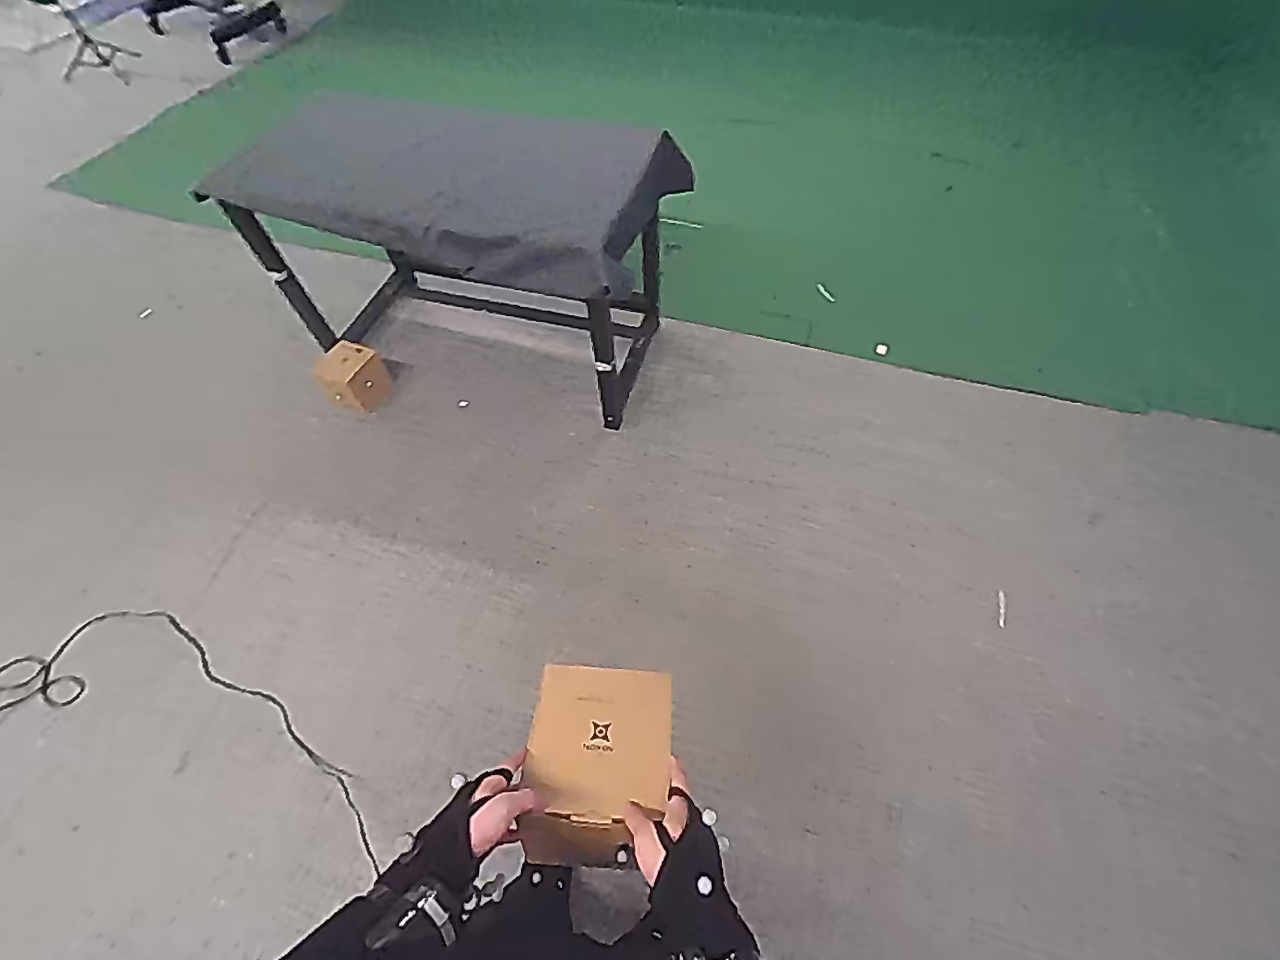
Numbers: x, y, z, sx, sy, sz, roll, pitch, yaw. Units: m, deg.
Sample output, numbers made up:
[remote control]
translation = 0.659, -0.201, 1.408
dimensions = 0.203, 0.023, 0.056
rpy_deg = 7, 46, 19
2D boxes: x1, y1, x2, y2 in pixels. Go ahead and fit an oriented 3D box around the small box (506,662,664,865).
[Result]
[small box]
translation = -0.057, 0.355, 0.676
dimensions = 0.168, 0.176, 0.179
rpy_deg = 3, 39, 1
